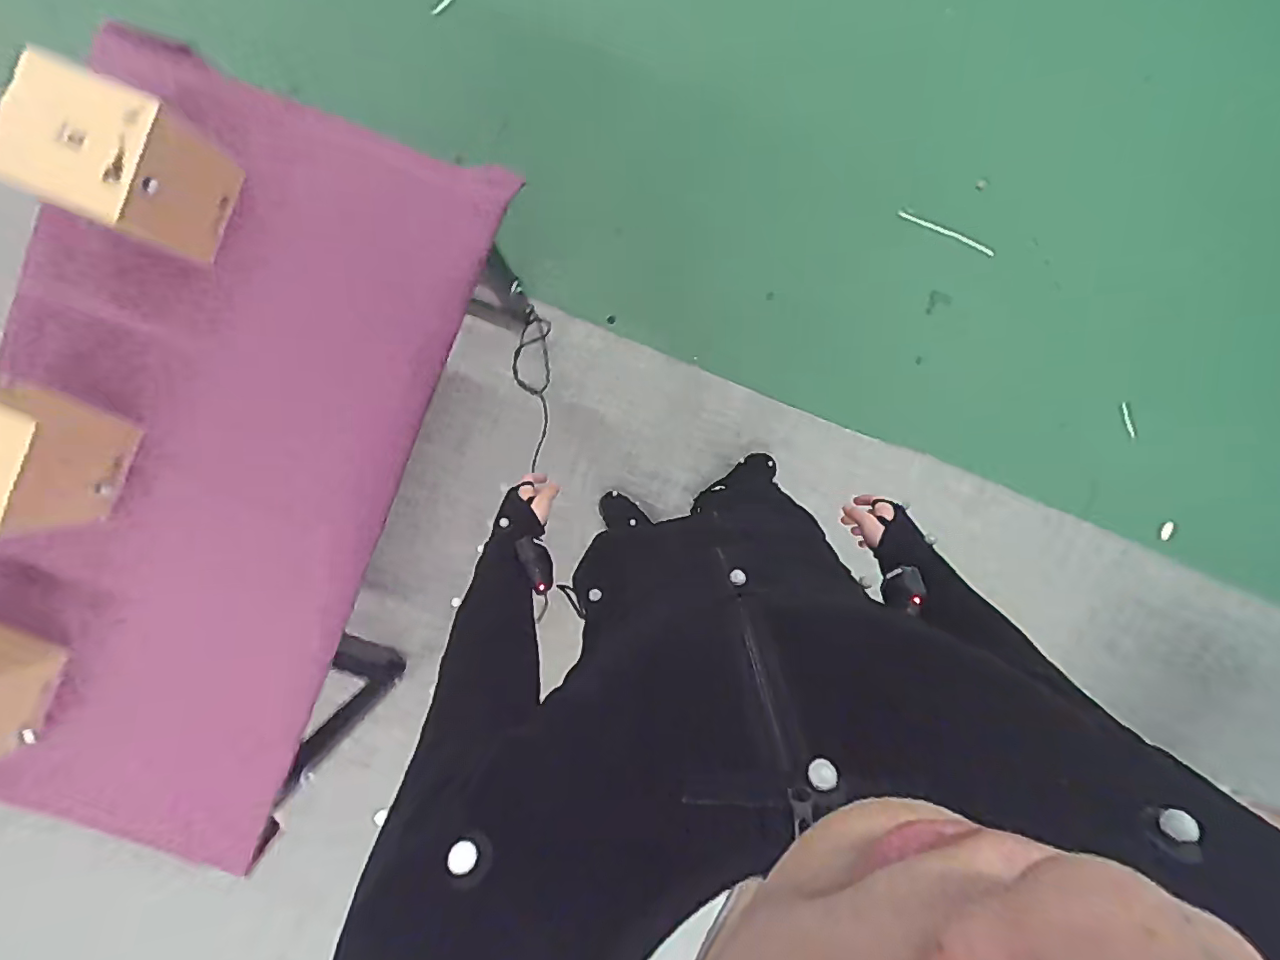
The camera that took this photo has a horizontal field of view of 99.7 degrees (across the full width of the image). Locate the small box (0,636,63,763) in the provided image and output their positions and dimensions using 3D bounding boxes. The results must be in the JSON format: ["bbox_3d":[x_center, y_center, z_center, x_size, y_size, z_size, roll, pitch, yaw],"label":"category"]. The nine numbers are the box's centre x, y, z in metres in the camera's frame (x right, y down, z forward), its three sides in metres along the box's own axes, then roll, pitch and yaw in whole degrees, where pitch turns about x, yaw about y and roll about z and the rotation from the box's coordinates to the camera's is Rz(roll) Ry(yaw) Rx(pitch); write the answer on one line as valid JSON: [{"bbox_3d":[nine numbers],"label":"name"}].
[{"bbox_3d":[-1.015,0.332,0.779,0.179,0.176,0.168,21,91,-5],"label":"small box"}]

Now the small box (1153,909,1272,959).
[{"bbox_3d":[1.408,1.184,1.289,0.179,0.176,0.168,27,92,-3],"label":"small box"}]

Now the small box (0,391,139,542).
[{"bbox_3d":[-0.892,-0.025,0.768,0.179,0.176,0.168,23,93,-5],"label":"small box"}]

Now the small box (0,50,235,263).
[{"bbox_3d":[-0.726,-0.428,0.751,0.179,0.176,0.168,21,93,-4],"label":"small box"}]
